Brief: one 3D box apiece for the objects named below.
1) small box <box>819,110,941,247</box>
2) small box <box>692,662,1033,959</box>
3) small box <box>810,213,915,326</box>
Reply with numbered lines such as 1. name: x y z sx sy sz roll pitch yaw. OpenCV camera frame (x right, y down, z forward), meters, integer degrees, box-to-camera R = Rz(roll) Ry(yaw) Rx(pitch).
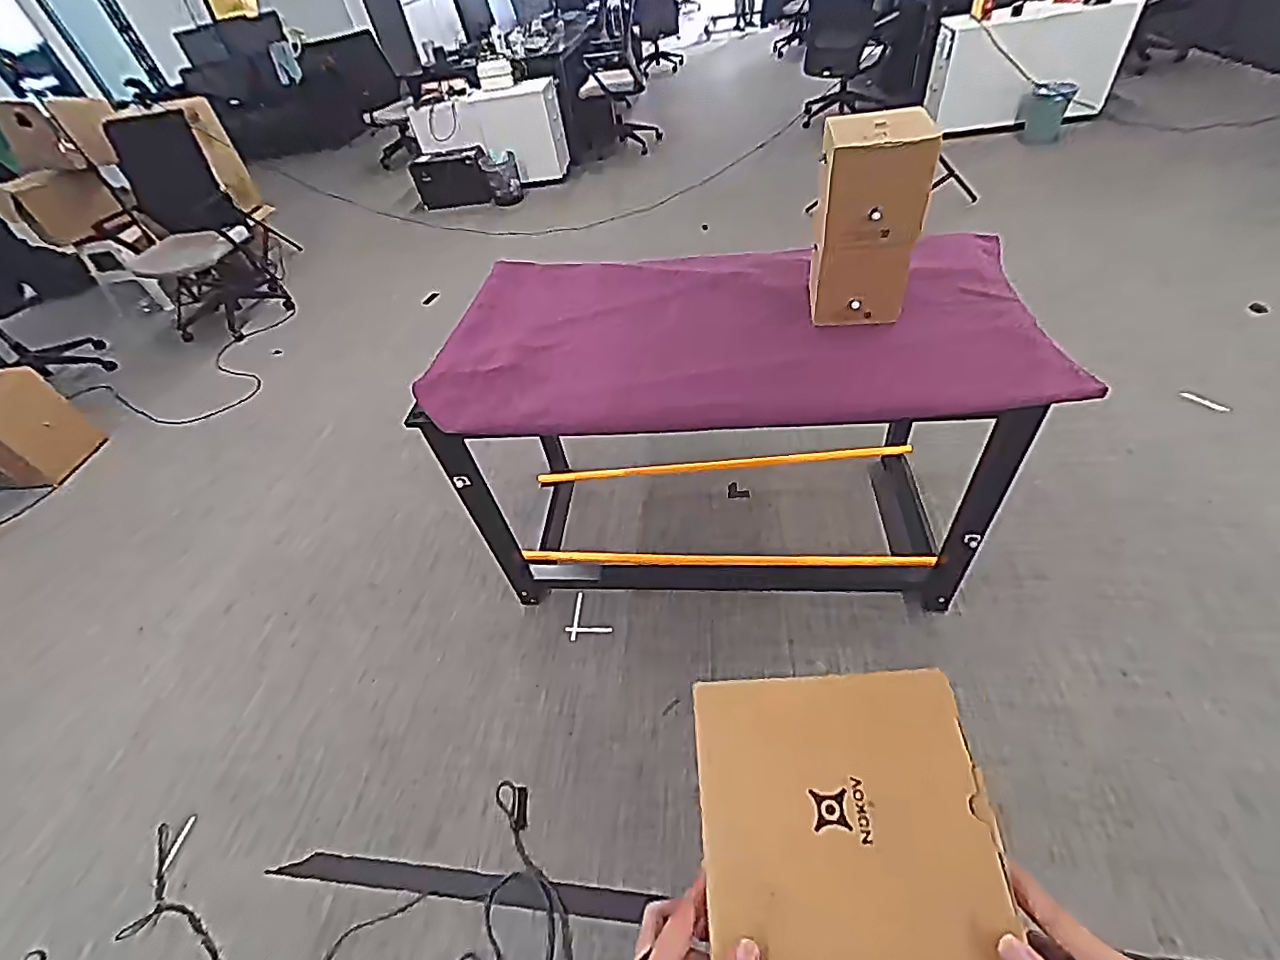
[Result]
1. small box: 0.422 -0.544 0.983 0.168 0.176 0.179 1 48 12
2. small box: 0.141 0.244 0.405 0.179 0.176 0.168 -7 57 10
3. small box: 0.442 -0.432 1.103 0.168 0.176 0.179 1 48 12
